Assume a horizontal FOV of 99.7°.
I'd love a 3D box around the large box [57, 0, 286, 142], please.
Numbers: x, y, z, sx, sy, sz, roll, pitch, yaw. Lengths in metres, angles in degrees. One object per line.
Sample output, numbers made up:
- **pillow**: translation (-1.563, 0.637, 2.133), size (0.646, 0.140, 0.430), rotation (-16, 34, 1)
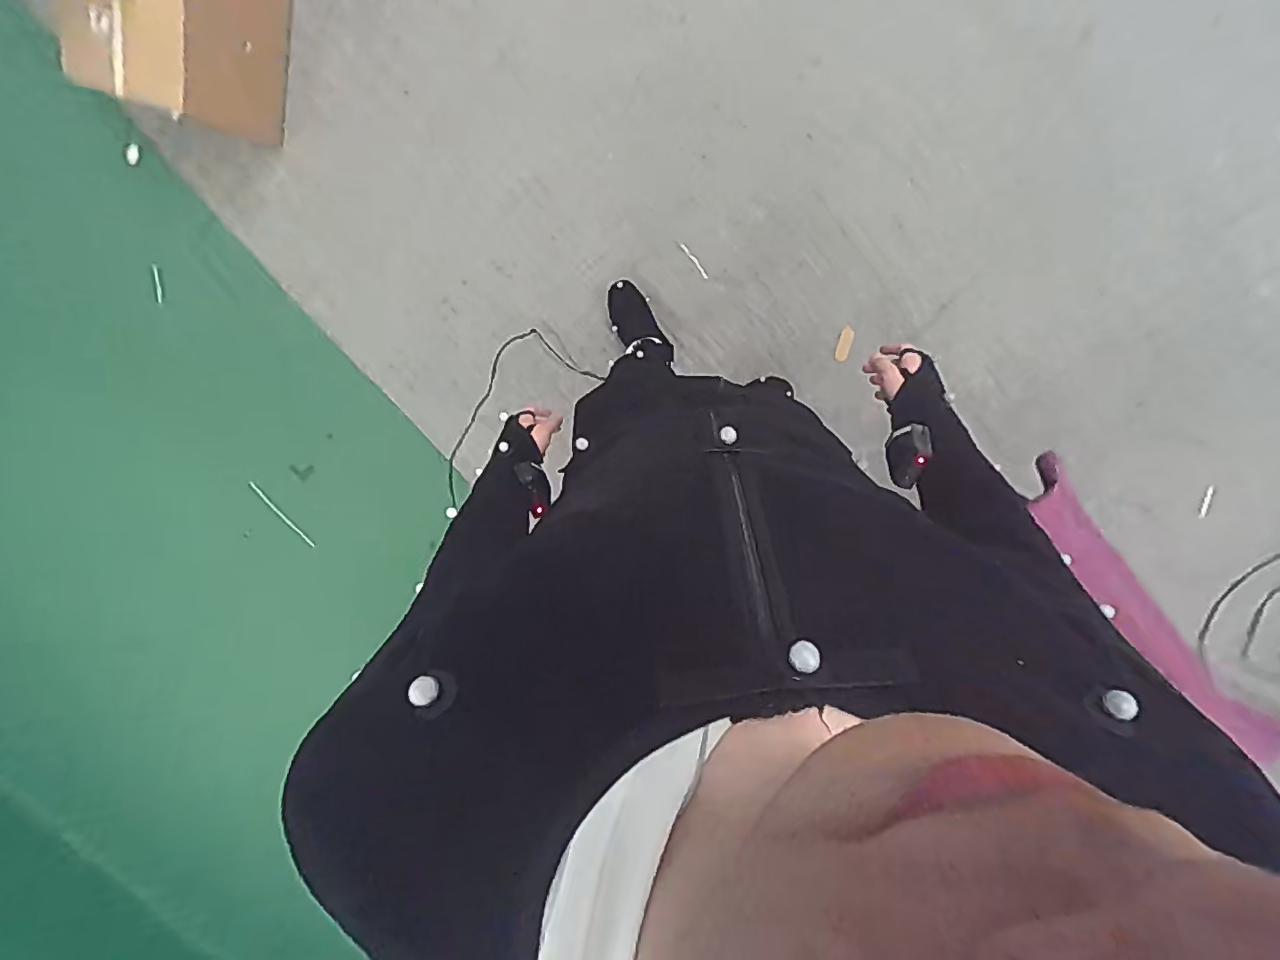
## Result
- **large box**: translation (-1.124, -1.126, 1.323), size (0.320, 0.320, 0.408), rotation (19, 111, 3)
